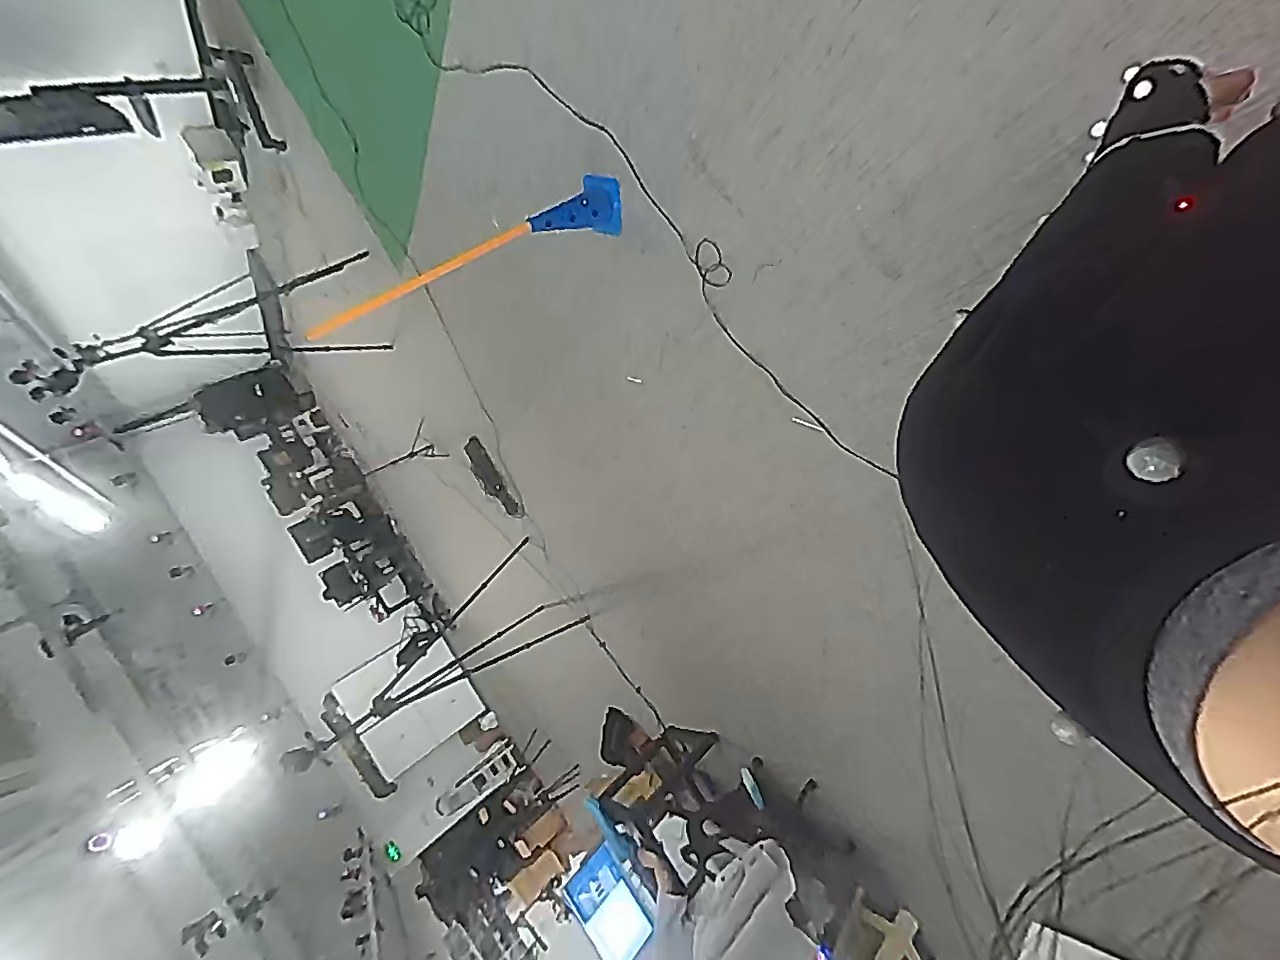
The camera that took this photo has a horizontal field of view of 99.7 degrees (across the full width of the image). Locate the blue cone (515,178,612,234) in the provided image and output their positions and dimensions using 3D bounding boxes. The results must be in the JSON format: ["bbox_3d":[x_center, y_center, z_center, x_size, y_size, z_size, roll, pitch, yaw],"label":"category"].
[{"bbox_3d":[-0.290,-0.974,1.987,0.192,0.380,0.193,29,139,35],"label":"blue cone"}]
